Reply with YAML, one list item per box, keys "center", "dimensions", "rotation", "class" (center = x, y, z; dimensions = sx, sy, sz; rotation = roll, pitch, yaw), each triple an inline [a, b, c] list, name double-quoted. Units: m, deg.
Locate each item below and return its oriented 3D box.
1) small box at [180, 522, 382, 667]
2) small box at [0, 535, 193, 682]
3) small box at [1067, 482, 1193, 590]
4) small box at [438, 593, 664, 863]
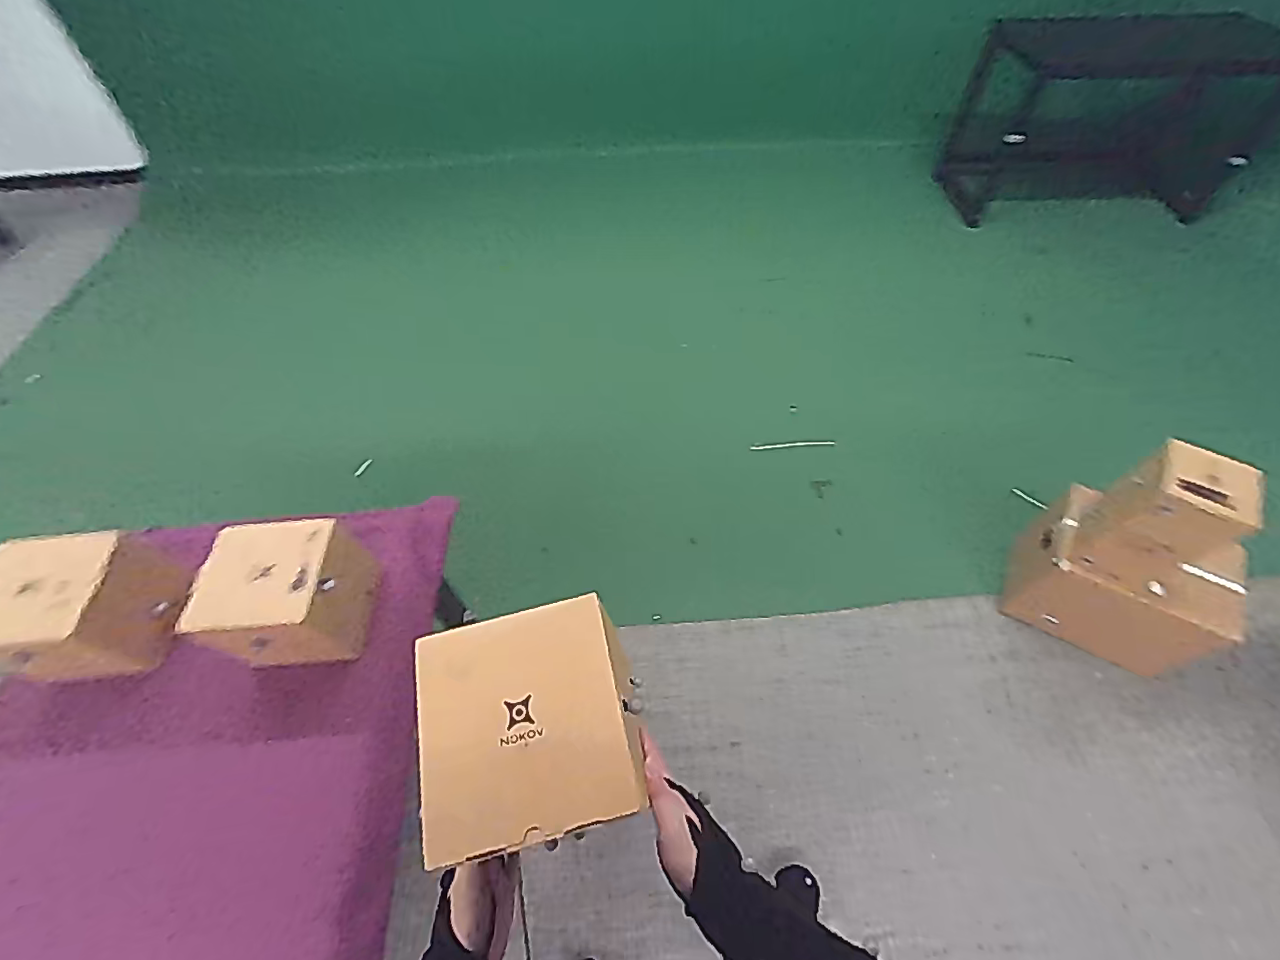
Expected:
- center: [-0.538, 0.183, 0.841]
  dimensions: [0.179, 0.176, 0.168]
  rotation: [-5, 55, 1]
  class: "small box"
- center: [-0.857, 0.202, 0.832]
  dimensions: [0.179, 0.176, 0.168]
  rotation: [-5, 57, -3]
  class: "small box"
- center: [1.214, 0.144, 1.350]
  dimensions: [0.168, 0.176, 0.179]
  rotation: [29, 60, 19]
  class: "small box"
- center: [-0.077, 0.227, 0.508]
  dimensions: [0.168, 0.176, 0.179]
  rotation: [-13, 63, -3]
  class: "small box"
